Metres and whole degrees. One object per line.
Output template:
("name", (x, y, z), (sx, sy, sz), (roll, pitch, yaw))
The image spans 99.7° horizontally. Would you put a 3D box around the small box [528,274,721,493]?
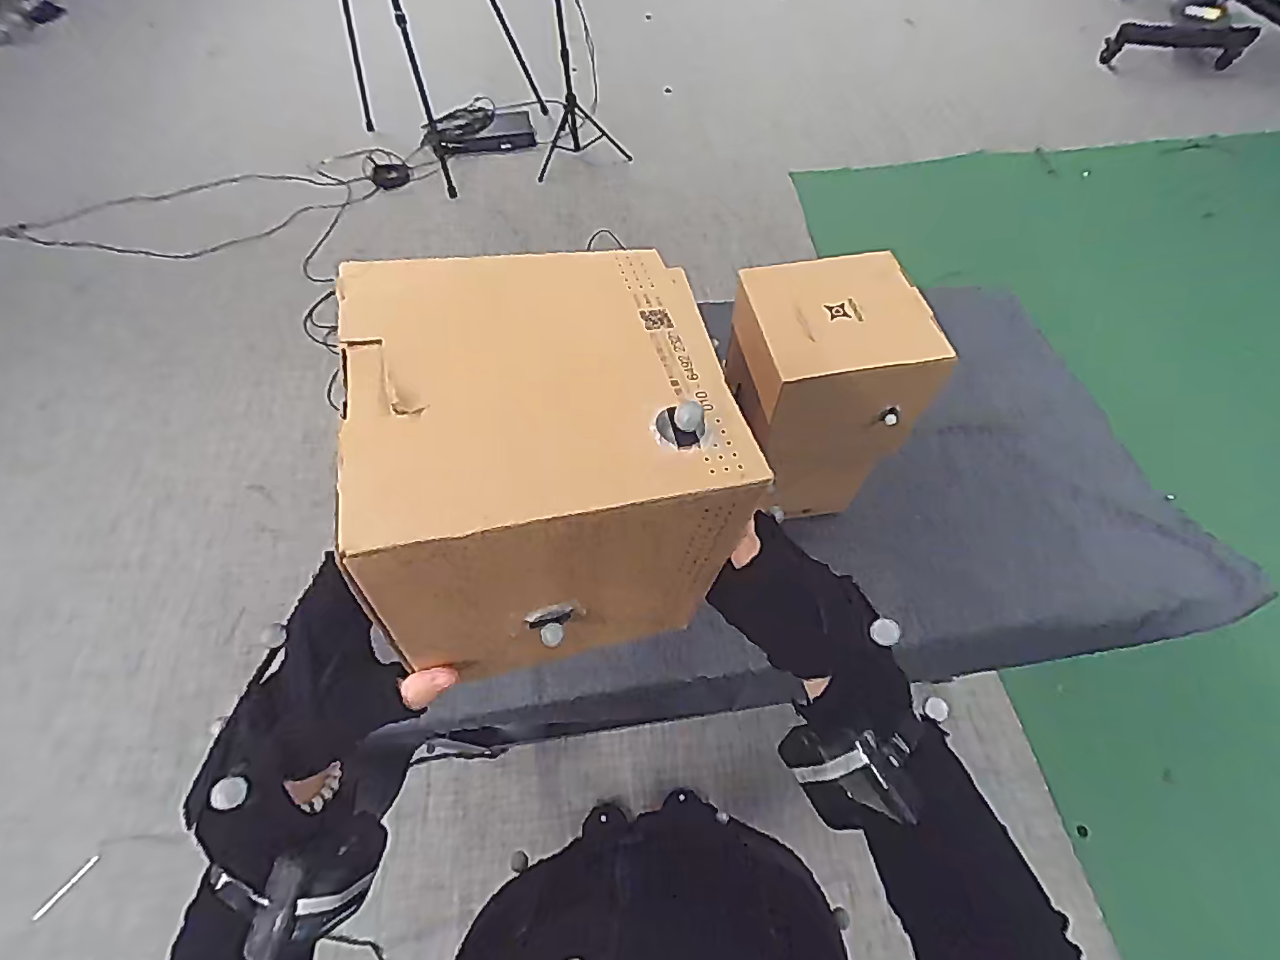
("small box", (-0.017, -0.102, 0.620), (0.179, 0.176, 0.168), (-12, 61, -4))
